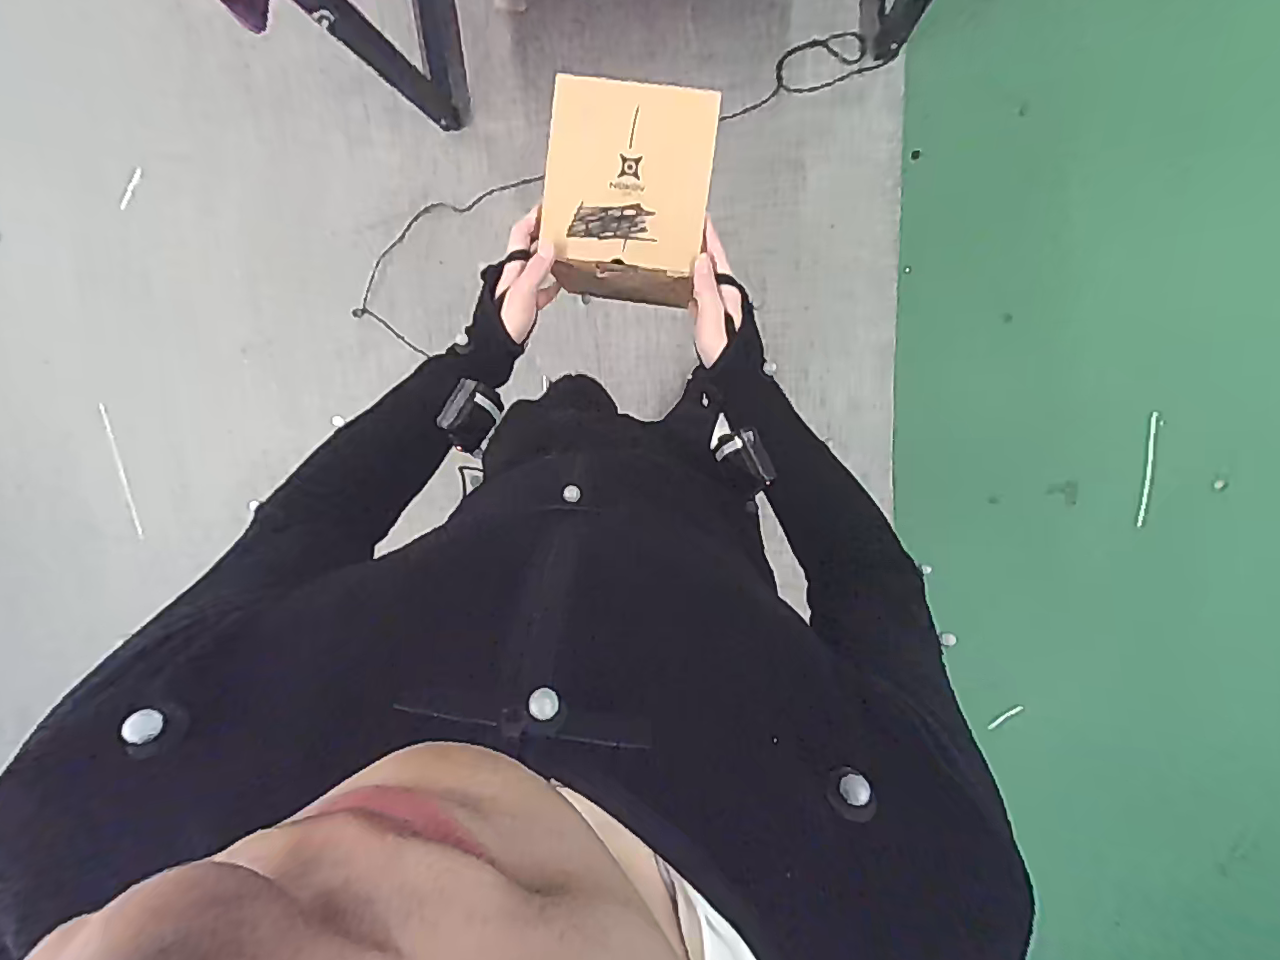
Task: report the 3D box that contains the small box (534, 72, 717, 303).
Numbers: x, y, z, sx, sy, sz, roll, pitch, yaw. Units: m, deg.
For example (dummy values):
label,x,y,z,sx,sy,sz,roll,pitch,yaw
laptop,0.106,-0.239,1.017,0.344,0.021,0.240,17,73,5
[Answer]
label,x,y,z,sx,sy,sz,roll,pitch,yaw
small box,-0.012,-0.309,0.610,0.168,0.176,0.179,7,96,2
